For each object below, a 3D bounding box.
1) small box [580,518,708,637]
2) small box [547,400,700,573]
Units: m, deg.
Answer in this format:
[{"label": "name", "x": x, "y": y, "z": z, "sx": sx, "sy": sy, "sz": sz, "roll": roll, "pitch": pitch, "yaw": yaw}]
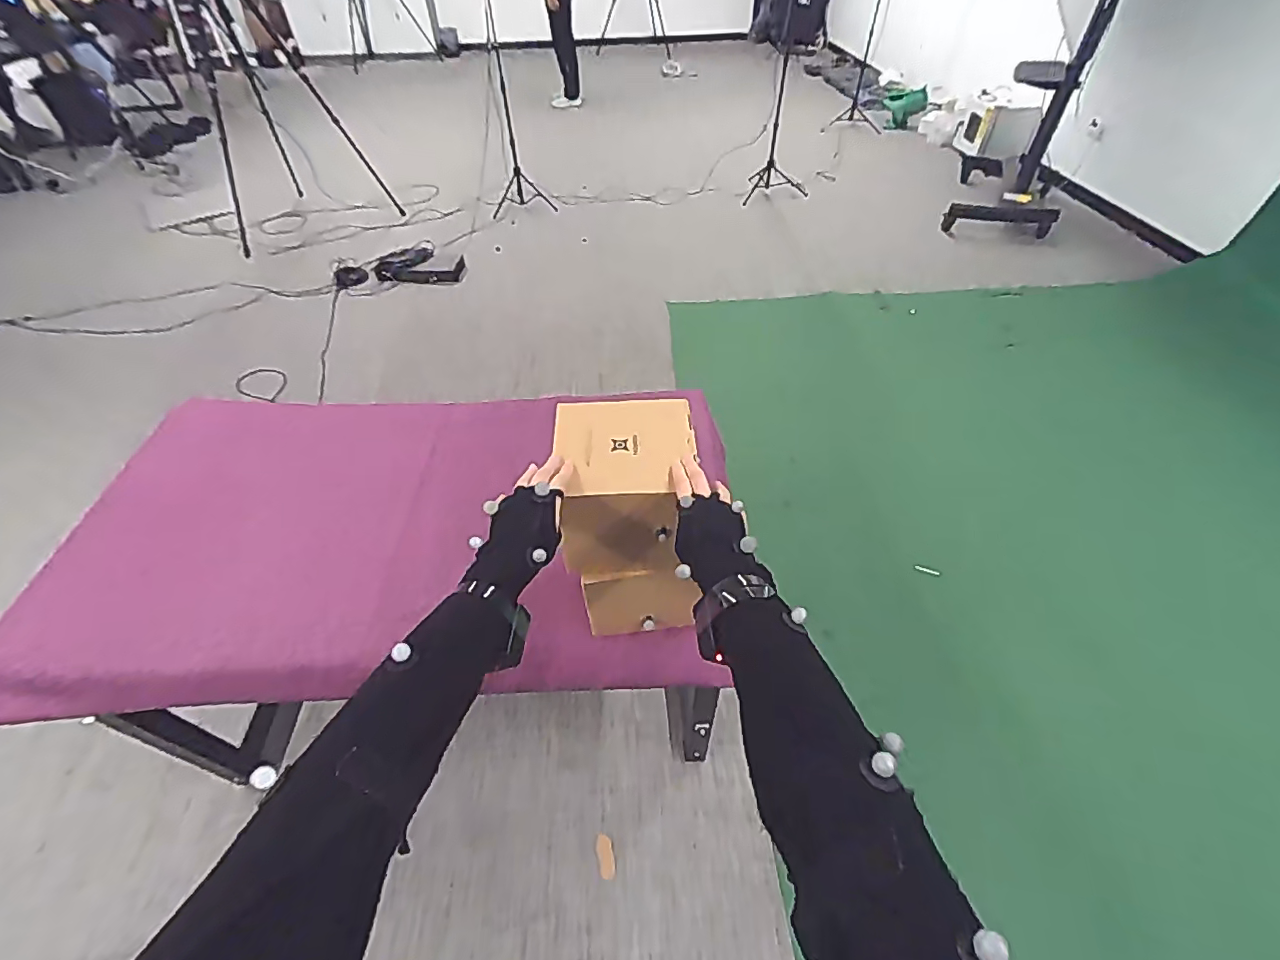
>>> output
[{"label": "small box", "x": -0.001, "y": 0.126, "z": 0.839, "sx": 0.179, "sy": 0.176, "sz": 0.168, "roll": -7, "pitch": 48, "yaw": -4}, {"label": "small box", "x": -0.018, "y": 0.012, "z": 0.723, "sx": 0.179, "sy": 0.176, "sz": 0.168, "roll": -3, "pitch": 48, "yaw": 1}]
